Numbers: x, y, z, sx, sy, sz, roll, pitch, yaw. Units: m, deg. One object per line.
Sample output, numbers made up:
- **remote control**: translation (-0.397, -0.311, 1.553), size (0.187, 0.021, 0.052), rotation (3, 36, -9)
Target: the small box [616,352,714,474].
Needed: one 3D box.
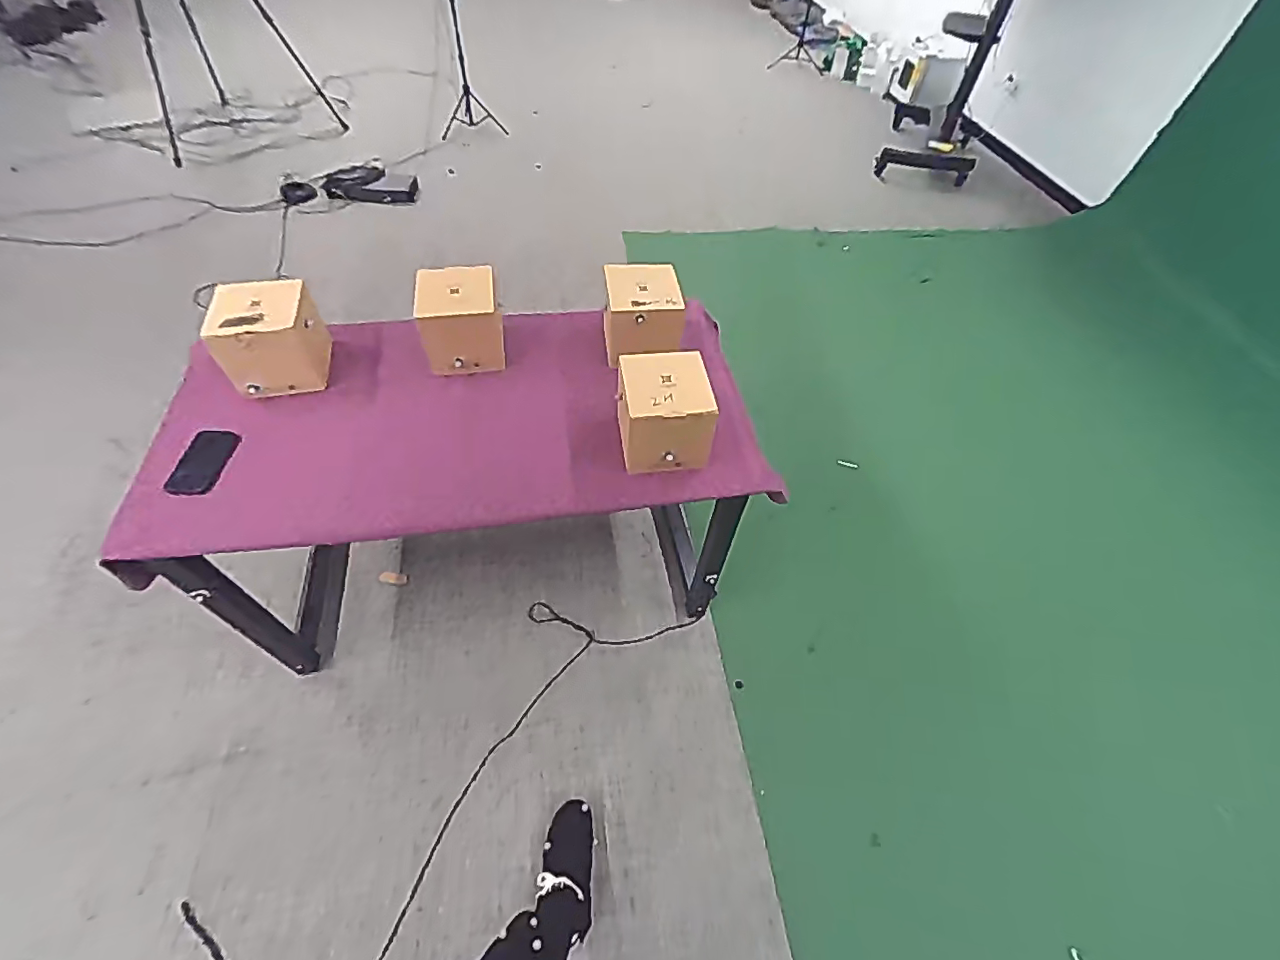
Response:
- **small box**: translation (0.042, -0.133, 1.086), size (0.168, 0.176, 0.179), rotation (-5, 53, -6)

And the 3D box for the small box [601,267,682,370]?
- **small box**: translation (-0.004, -0.382, 1.279), size (0.168, 0.176, 0.179), rotation (-4, 53, -7)

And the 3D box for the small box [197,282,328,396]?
- **small box**: translation (-0.787, -0.294, 1.150), size (0.168, 0.176, 0.179), rotation (-9, 53, -12)

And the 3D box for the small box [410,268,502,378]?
- **small box**: translation (-0.411, -0.356, 1.229), size (0.168, 0.176, 0.179), rotation (-7, 54, -9)
